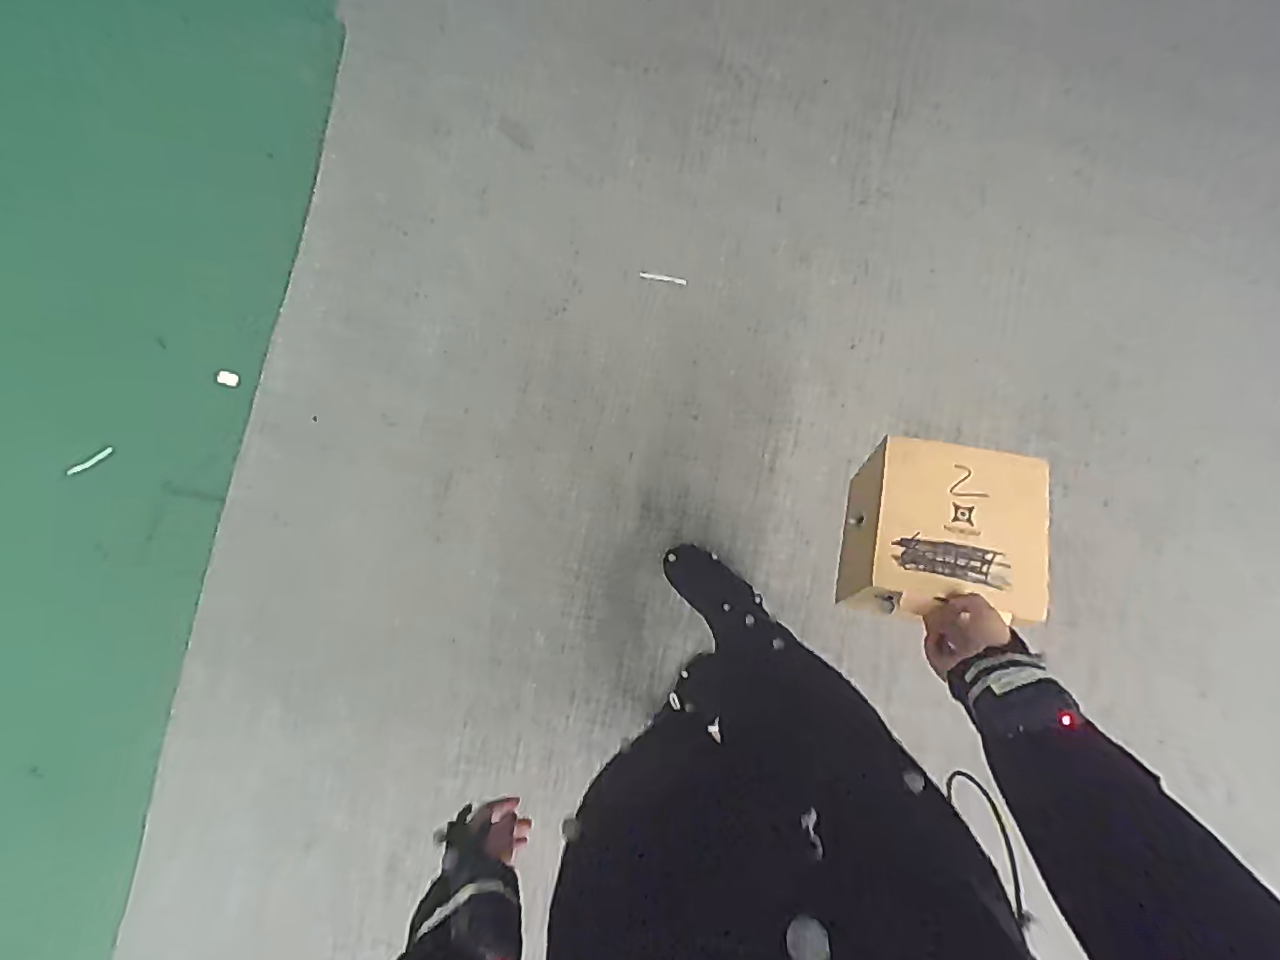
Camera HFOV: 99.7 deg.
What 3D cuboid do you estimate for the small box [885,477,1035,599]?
[{"bbox_3d":[0.630,0.114,1.088,0.168,0.176,0.179,30,87,4],"label":"small box"}]
